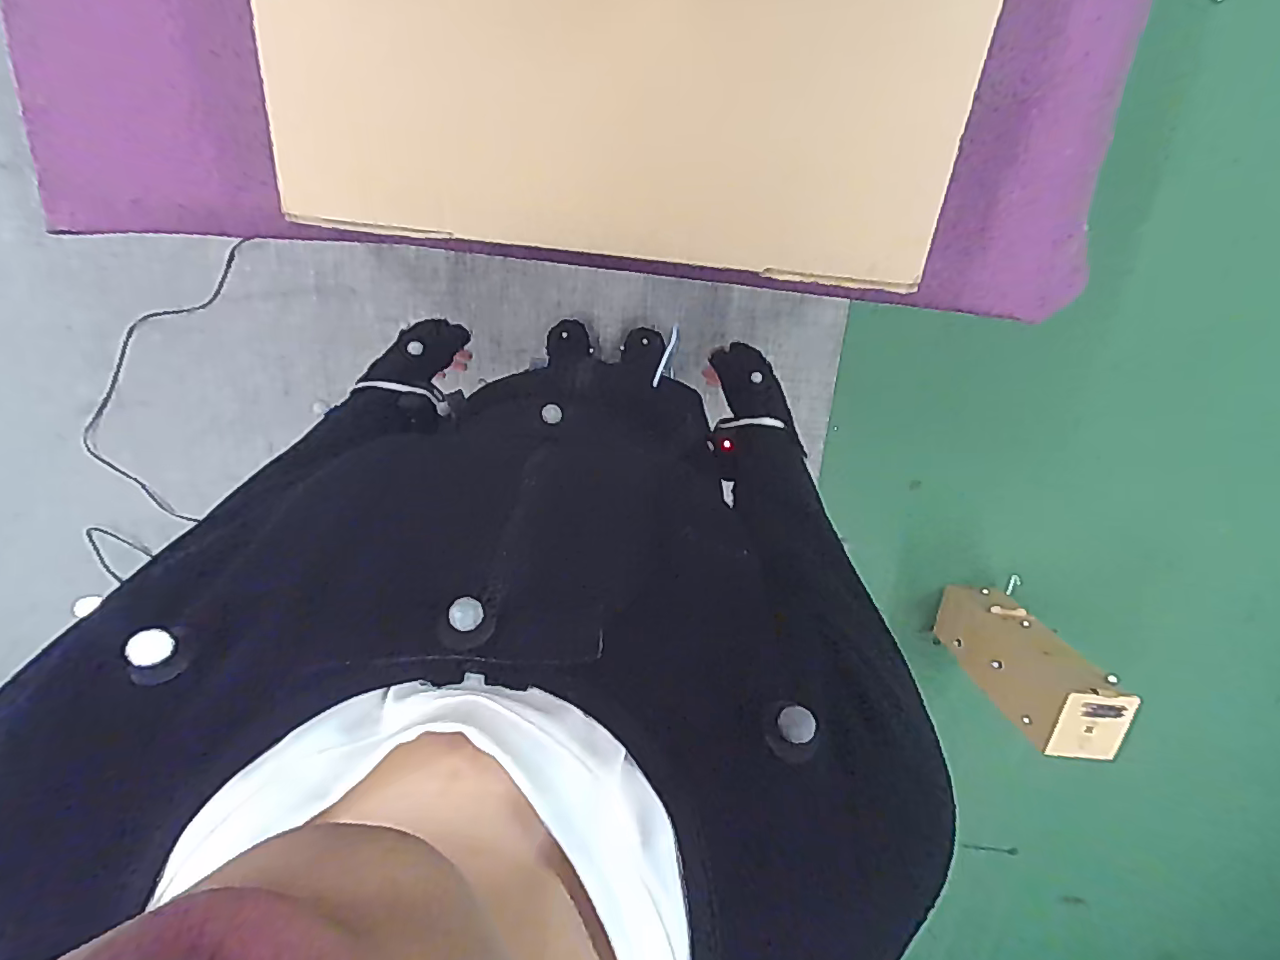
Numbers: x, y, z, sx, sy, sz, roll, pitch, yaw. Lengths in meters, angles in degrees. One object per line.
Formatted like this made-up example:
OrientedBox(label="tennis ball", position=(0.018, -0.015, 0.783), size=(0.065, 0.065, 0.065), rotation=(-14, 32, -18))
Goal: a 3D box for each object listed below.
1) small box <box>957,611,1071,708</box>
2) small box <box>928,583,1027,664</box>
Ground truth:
OrientedBox(label="small box", position=(0.992, 0.479, 1.453), size=(0.168, 0.176, 0.179), rotation=(6, 107, -4))
OrientedBox(label="small box", position=(0.993, 0.429, 1.608), size=(0.168, 0.176, 0.179), rotation=(5, 108, -4))
